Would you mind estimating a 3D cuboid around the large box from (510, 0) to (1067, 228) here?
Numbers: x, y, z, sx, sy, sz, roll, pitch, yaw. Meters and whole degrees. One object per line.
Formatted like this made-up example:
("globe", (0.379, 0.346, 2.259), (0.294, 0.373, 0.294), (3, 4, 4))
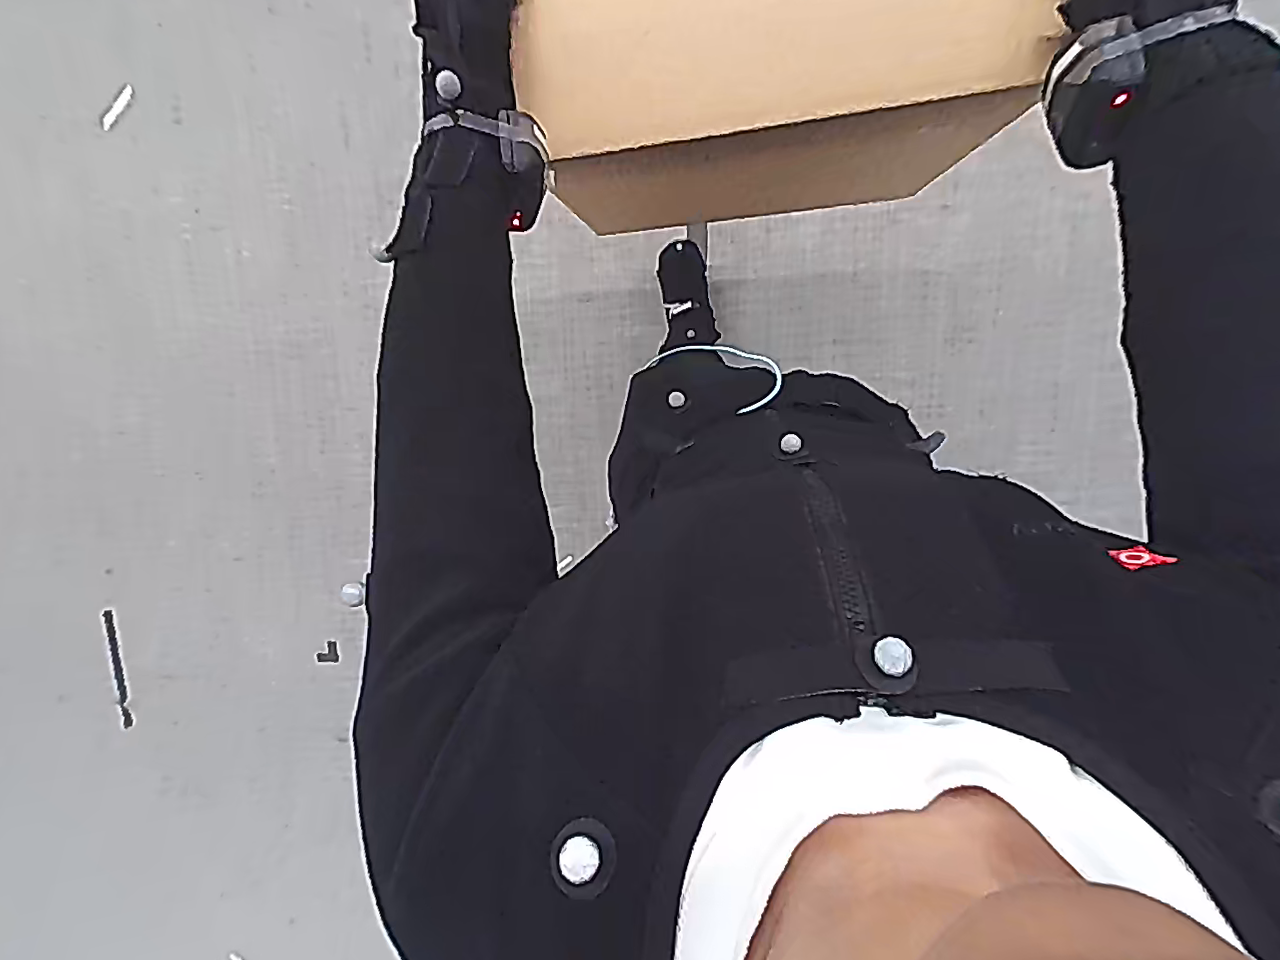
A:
("large box", (0.105, -0.465, 0.522), (0.408, 0.320, 0.320), (-4, 104, 8))
